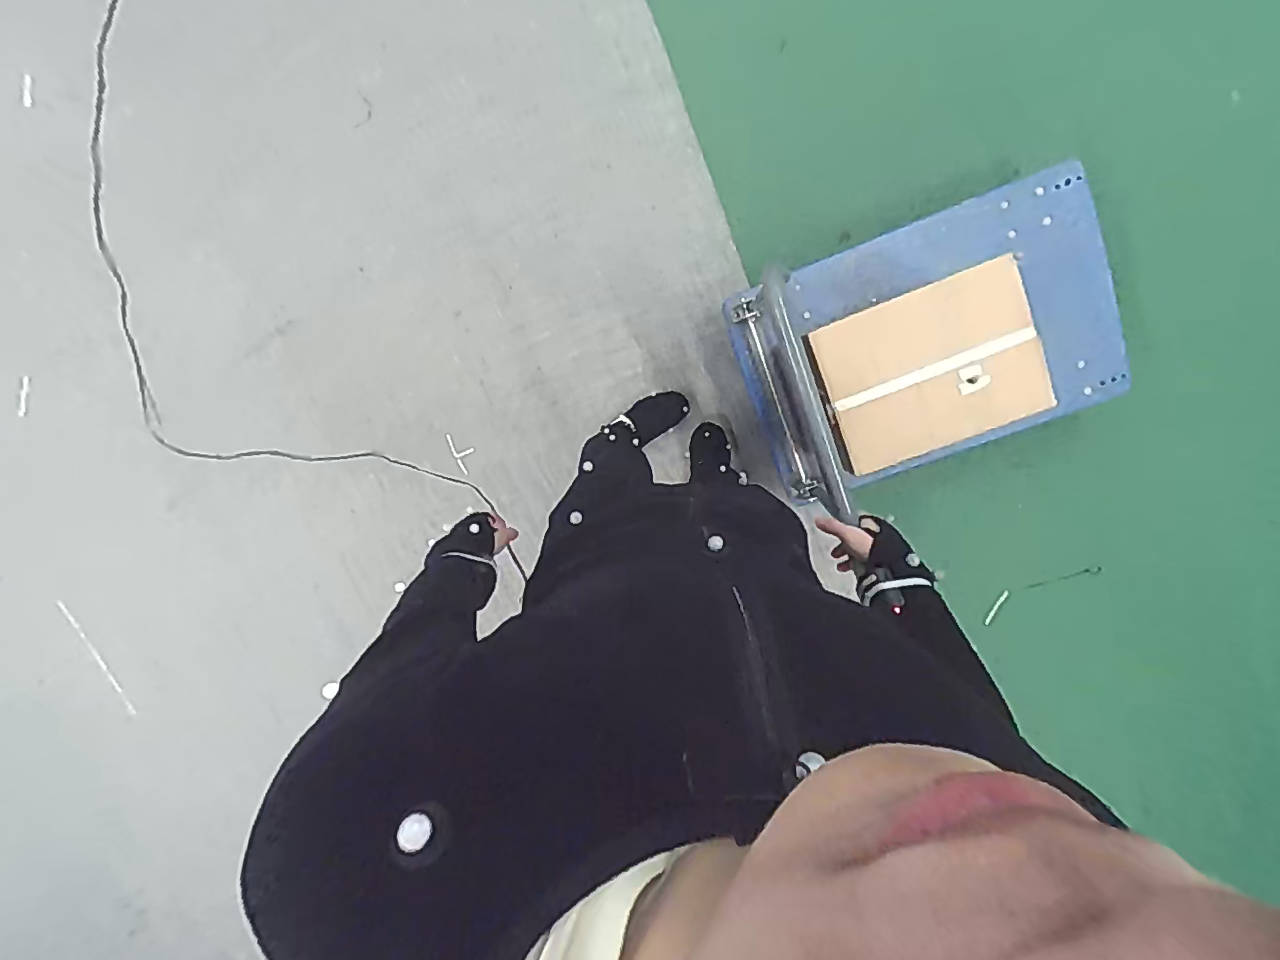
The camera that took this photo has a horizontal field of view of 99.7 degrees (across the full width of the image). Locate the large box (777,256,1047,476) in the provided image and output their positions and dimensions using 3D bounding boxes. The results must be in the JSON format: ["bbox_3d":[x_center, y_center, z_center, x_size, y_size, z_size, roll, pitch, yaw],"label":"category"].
[{"bbox_3d":[0.572,-0.240,1.212,0.408,0.320,0.320,-21,99,6],"label":"large box"}]
